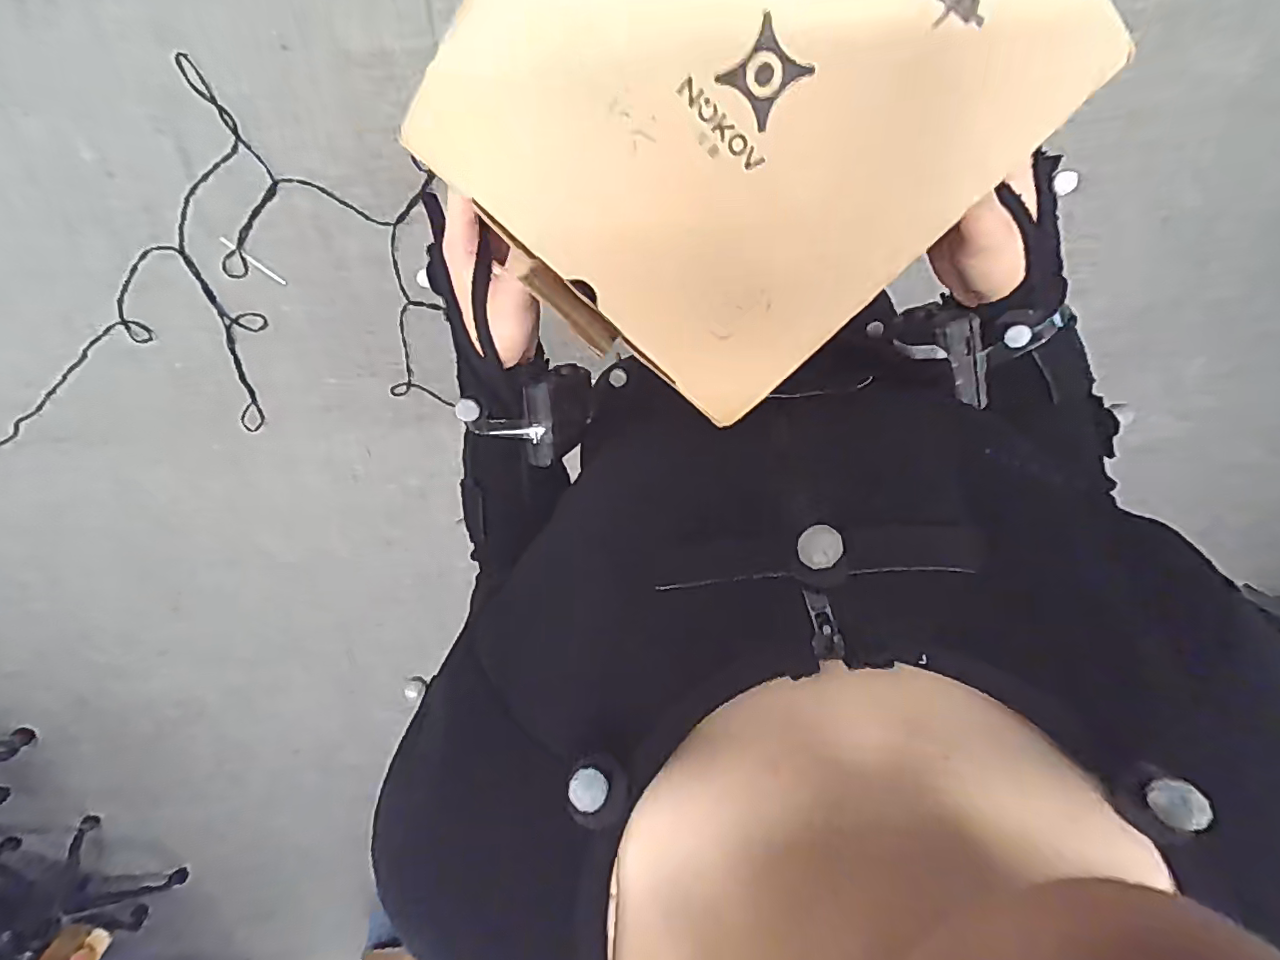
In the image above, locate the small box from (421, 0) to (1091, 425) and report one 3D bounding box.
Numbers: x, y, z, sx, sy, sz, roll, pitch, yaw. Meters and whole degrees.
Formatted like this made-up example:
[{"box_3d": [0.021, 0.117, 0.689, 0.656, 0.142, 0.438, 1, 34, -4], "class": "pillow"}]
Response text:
[{"box_3d": [0.039, -0.165, 0.258, 0.168, 0.176, 0.179, 39, 116, -18], "class": "small box"}]
